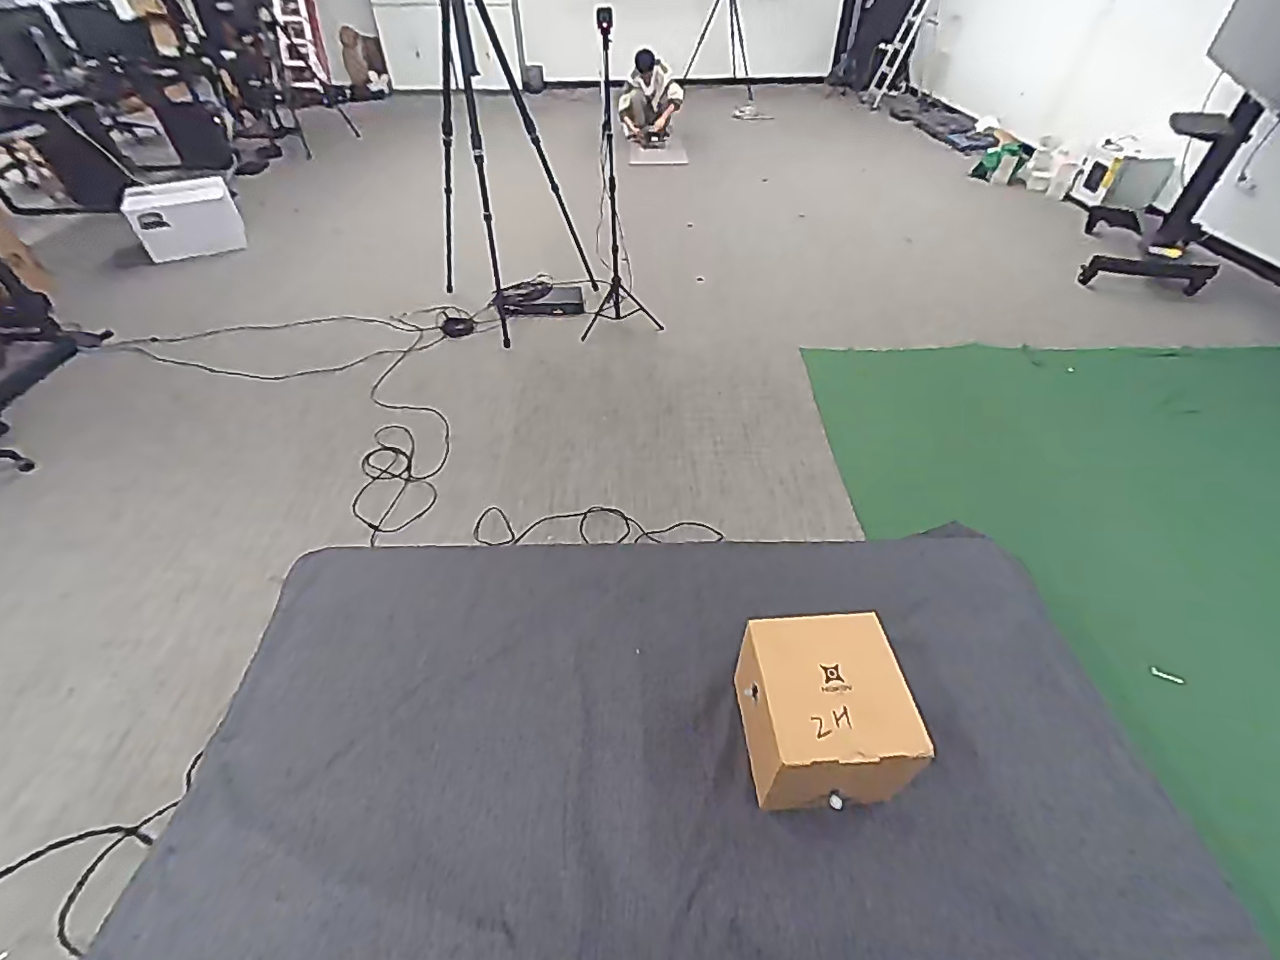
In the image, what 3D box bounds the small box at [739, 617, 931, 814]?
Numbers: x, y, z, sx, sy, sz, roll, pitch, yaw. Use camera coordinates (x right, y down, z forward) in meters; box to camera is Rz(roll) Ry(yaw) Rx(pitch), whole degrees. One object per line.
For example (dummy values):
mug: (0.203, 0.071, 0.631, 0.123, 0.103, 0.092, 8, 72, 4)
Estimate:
small box: (0.226, 0.298, 0.688, 0.168, 0.176, 0.179, -4, 44, -1)
